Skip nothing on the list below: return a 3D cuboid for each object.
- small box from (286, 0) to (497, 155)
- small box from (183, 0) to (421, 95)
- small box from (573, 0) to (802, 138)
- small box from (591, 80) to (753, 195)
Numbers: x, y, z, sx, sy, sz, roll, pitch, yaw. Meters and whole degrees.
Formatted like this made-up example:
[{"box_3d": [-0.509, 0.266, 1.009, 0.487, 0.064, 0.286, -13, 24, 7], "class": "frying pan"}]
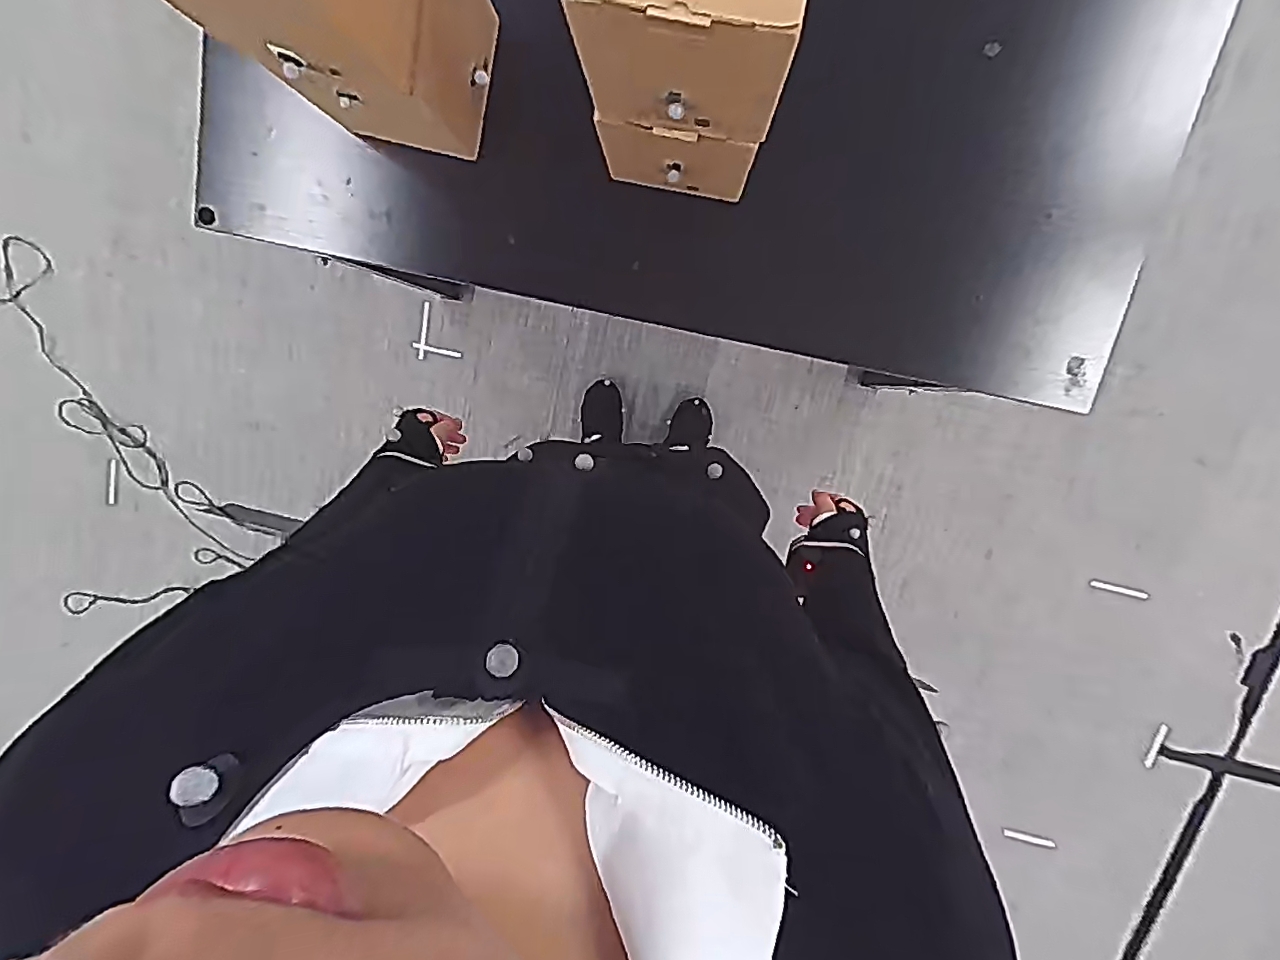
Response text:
[{"box_3d": [-0.281, -0.495, 0.602, 0.179, 0.176, 0.168, 14, 101, 0], "class": "small box"}, {"box_3d": [-0.294, -0.465, 0.443, 0.168, 0.176, 0.179, 13, 102, 3], "class": "small box"}, {"box_3d": [0.046, -0.413, 0.428, 0.168, 0.176, 0.179, 11, 100, 2], "class": "small box"}, {"box_3d": [0.052, -0.438, 0.592, 0.168, 0.176, 0.179, 11, 101, 2], "class": "small box"}]
